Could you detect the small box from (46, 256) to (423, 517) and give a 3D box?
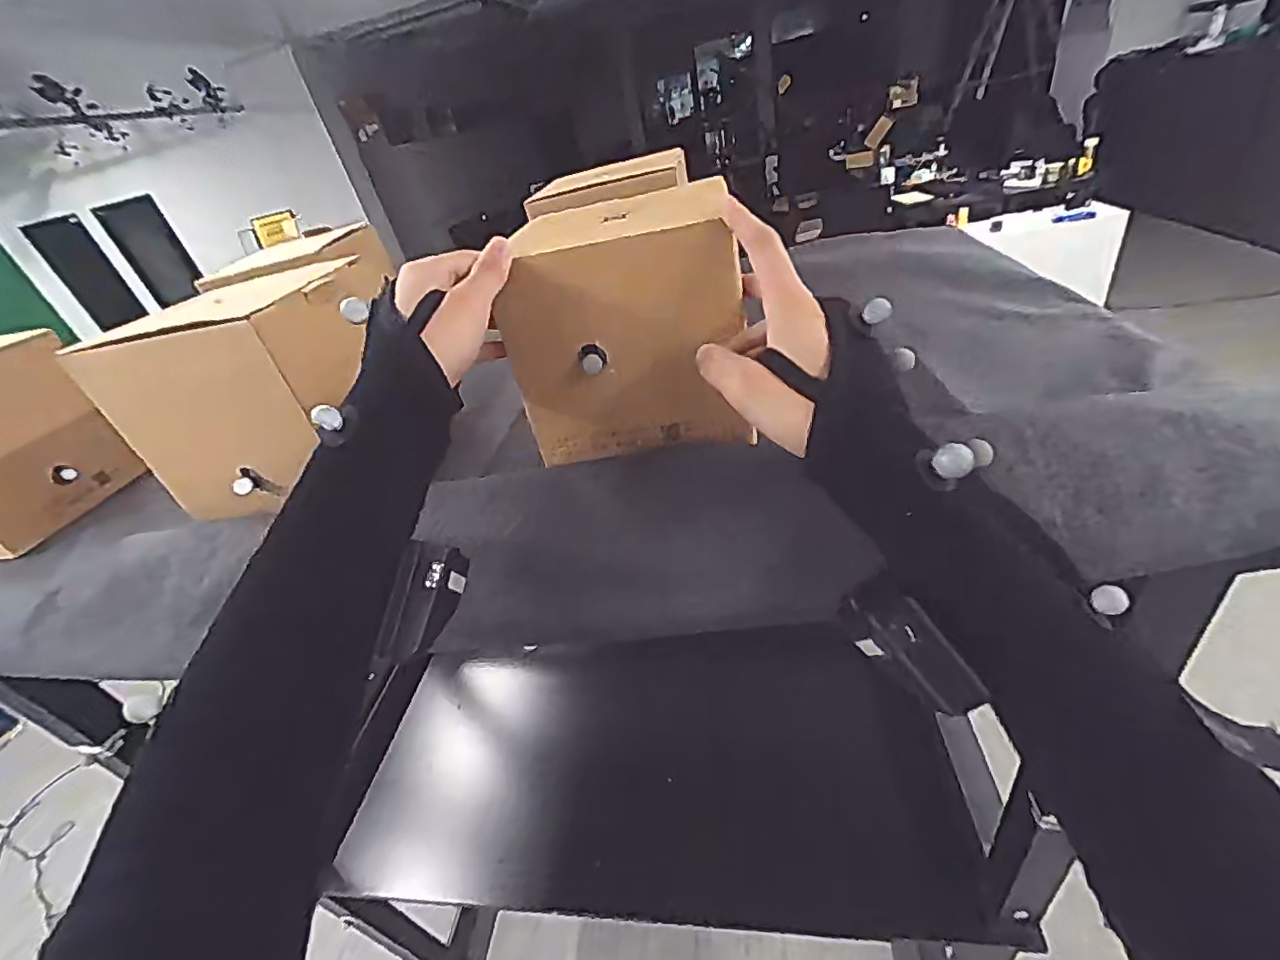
[{"bbox_3d":[-0.329,-0.083,0.489,0.179,0.176,0.168,-6,33,10],"label":"small box"}]

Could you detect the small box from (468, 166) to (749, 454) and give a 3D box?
[{"bbox_3d":[-0.007,-0.131,0.435,0.168,0.176,0.179,-7,33,10],"label":"small box"}]

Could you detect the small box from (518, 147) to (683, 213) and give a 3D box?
[{"bbox_3d":[-0.026,-0.301,0.686,0.179,0.176,0.168,-7,35,12],"label":"small box"}]

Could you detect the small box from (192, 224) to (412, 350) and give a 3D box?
[{"bbox_3d":[-0.449,-0.239,0.757,0.168,0.176,0.179,-11,34,7],"label":"small box"}]
